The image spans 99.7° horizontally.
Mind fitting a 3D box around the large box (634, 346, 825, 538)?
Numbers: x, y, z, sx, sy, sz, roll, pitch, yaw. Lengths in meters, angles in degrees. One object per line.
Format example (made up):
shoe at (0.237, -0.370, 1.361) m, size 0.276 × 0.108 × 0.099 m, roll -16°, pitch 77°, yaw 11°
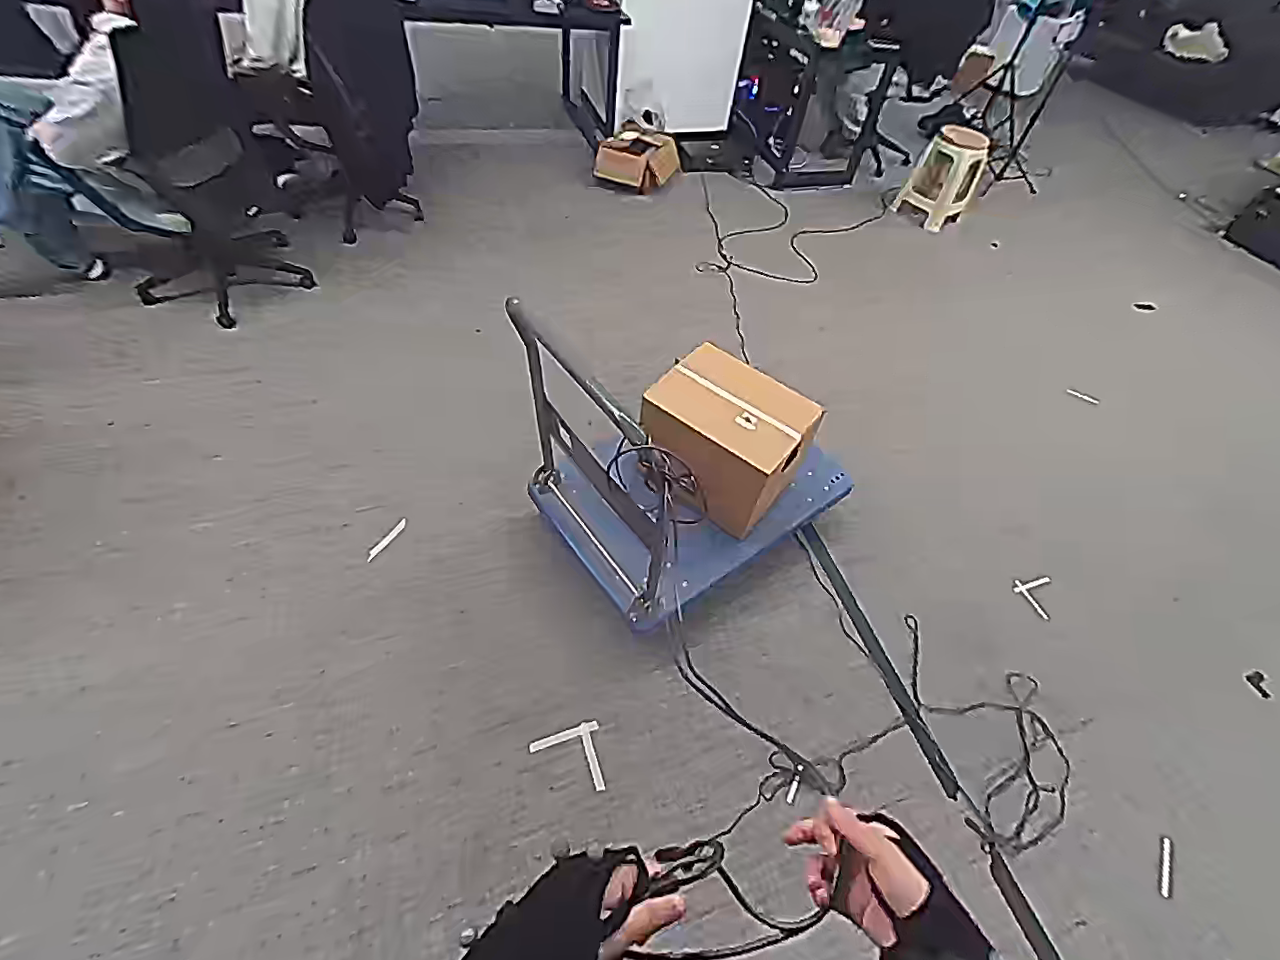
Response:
large box at (0.239, -0.112, 1.561) m, size 0.408 × 0.320 × 0.320 m, roll 35°, pitch 58°, yaw 18°
